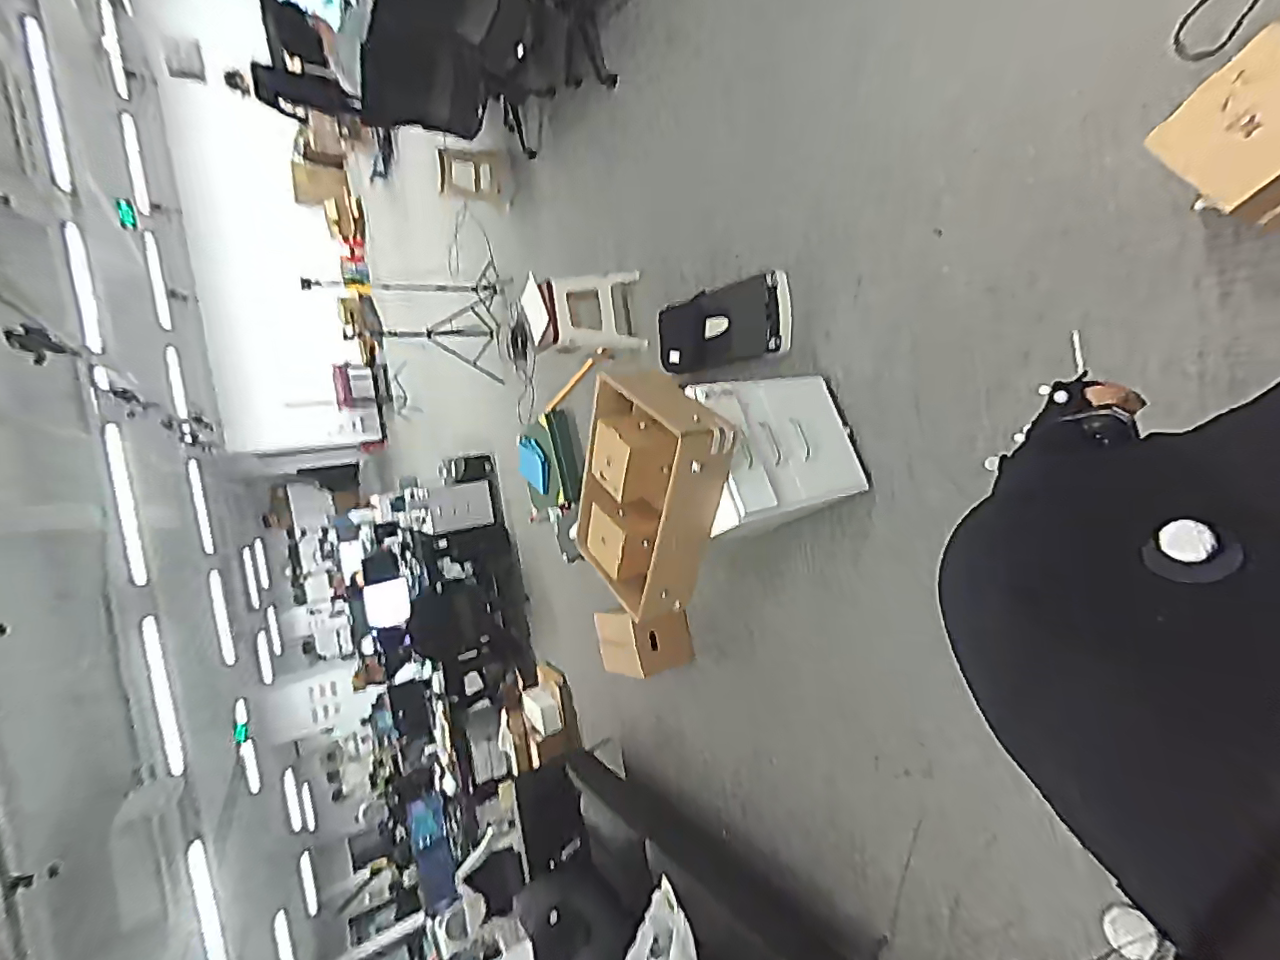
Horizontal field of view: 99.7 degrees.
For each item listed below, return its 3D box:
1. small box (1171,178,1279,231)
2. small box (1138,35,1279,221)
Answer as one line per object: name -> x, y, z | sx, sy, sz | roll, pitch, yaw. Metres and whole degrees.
small box -> 1.066, -0.538, 0.905 | 0.179, 0.176, 0.168 | 61, 143, 27
small box -> 0.929, -0.516, 0.815 | 0.179, 0.176, 0.168 | 64, 145, 23
